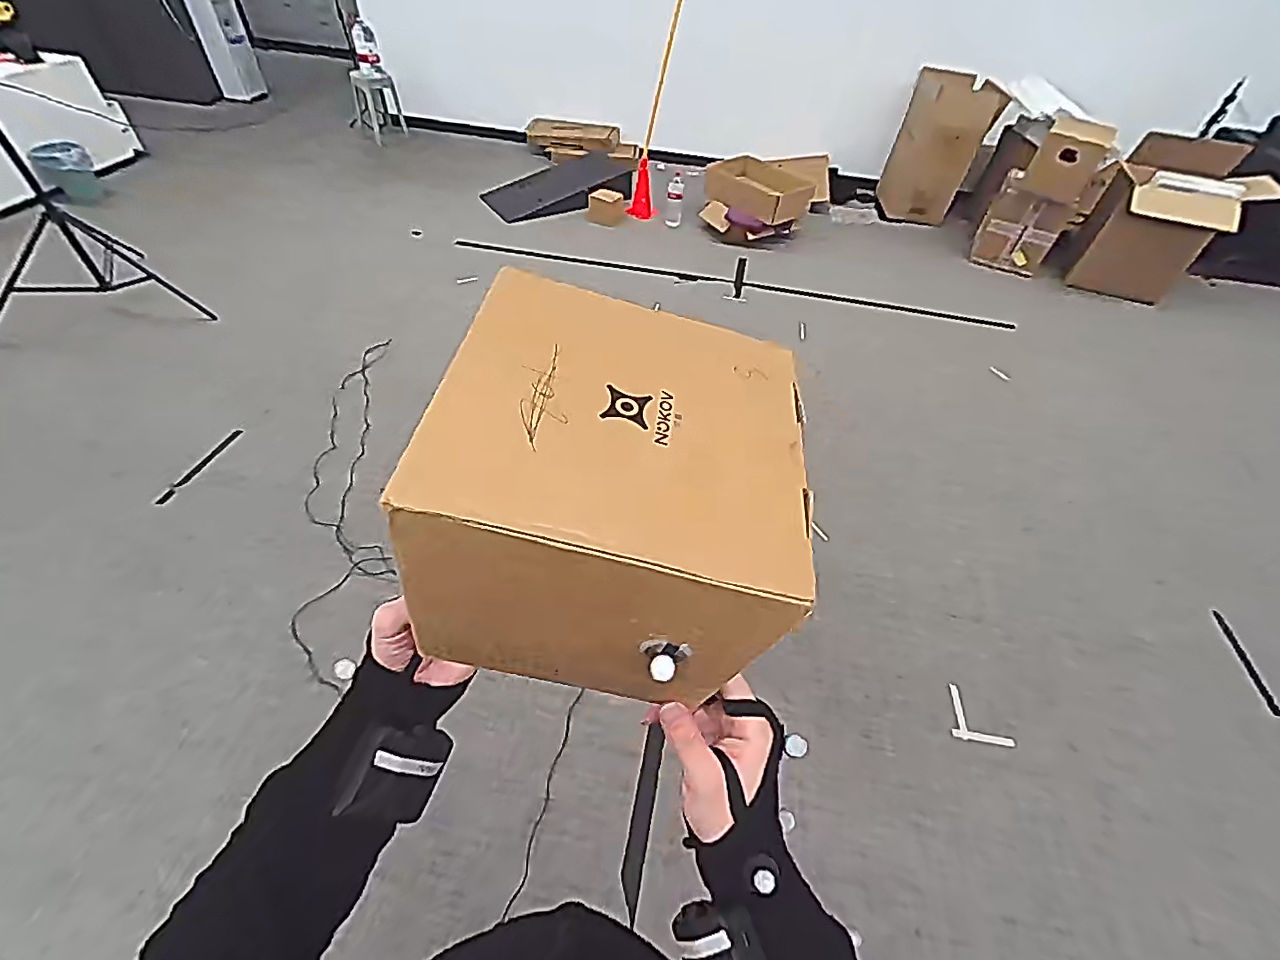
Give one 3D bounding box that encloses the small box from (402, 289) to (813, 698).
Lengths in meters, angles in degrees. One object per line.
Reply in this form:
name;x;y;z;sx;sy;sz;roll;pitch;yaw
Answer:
small box;-0.019;0.020;0.331;0.179;0.176;0.168;13;51;-6
